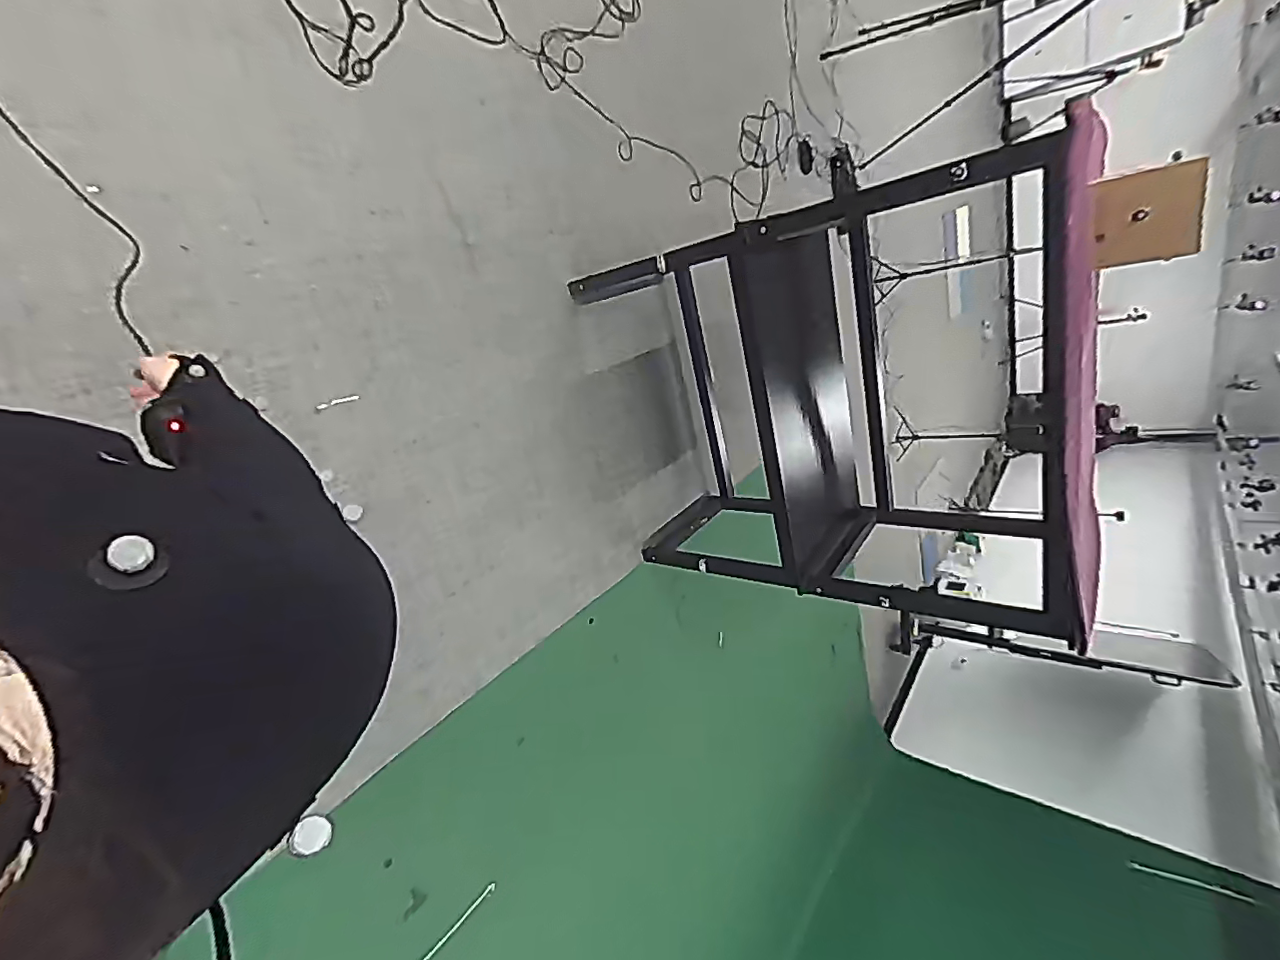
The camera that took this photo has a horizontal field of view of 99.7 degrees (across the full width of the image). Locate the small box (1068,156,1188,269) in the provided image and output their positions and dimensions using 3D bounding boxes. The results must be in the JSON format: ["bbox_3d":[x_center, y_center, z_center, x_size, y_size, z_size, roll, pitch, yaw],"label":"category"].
[{"bbox_3d":[0.980,-0.537,1.094,0.179,0.176,0.168,-35,118,-42],"label":"small box"}]
